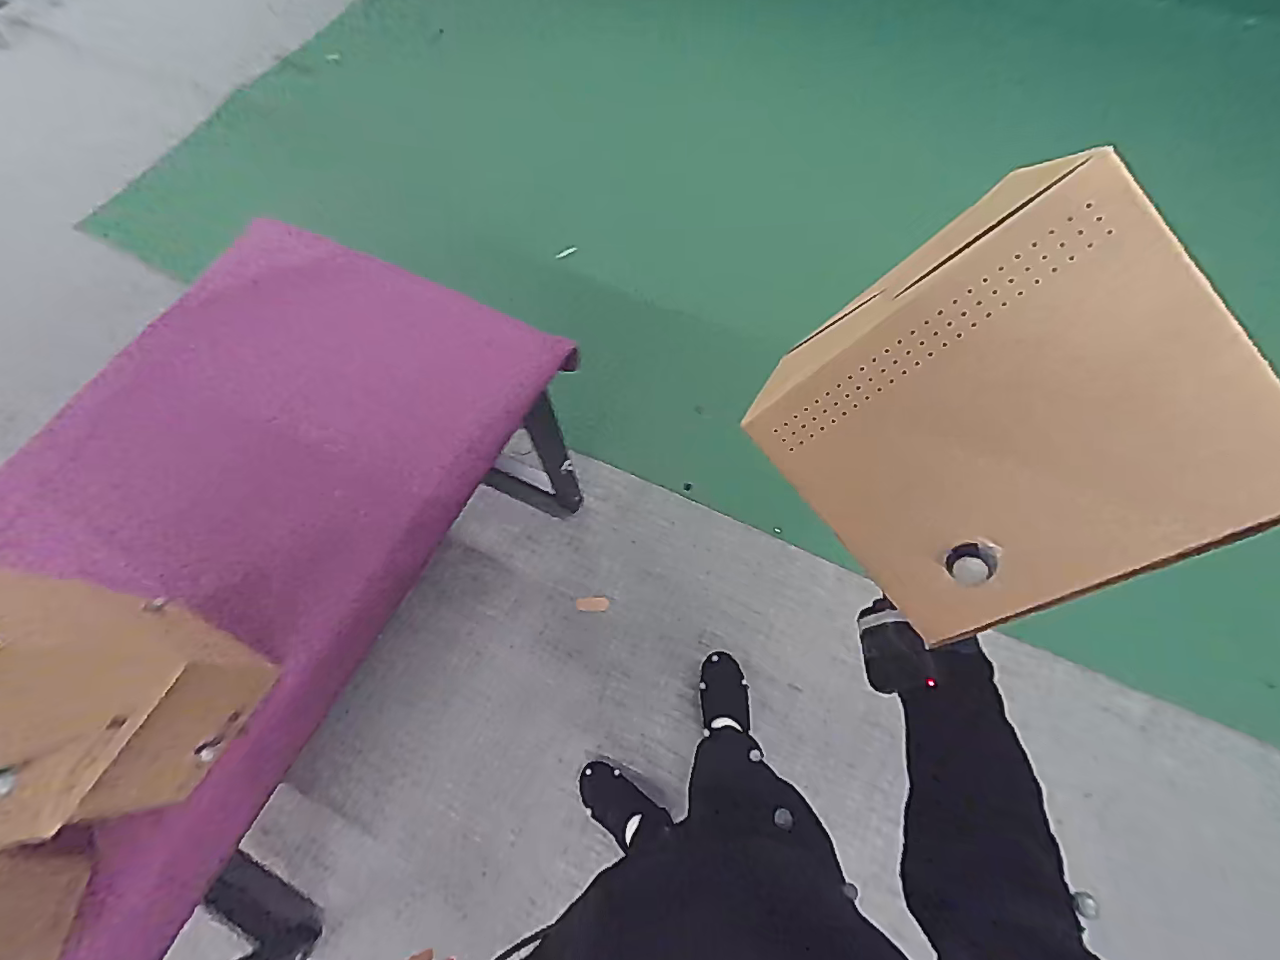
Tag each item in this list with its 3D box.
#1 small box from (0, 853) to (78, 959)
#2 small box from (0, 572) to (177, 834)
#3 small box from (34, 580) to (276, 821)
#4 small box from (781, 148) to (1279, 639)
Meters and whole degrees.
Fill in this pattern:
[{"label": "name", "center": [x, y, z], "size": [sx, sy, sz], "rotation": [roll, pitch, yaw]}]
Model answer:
[{"label": "small box", "center": [-0.696, 0.466, 0.496], "size": [0.168, 0.176, 0.179], "rotation": [1, 66, 2]}, {"label": "small box", "center": [-0.556, 0.177, 0.446], "size": [0.179, 0.176, 0.168], "rotation": [24, 70, 14]}, {"label": "small box", "center": [-0.567, 0.238, 0.597], "size": [0.179, 0.176, 0.168], "rotation": [25, 70, 12]}, {"label": "small box", "center": [0.200, -0.047, 0.315], "size": [0.176, 0.179, 0.168], "rotation": [49, 33, -5]}]
